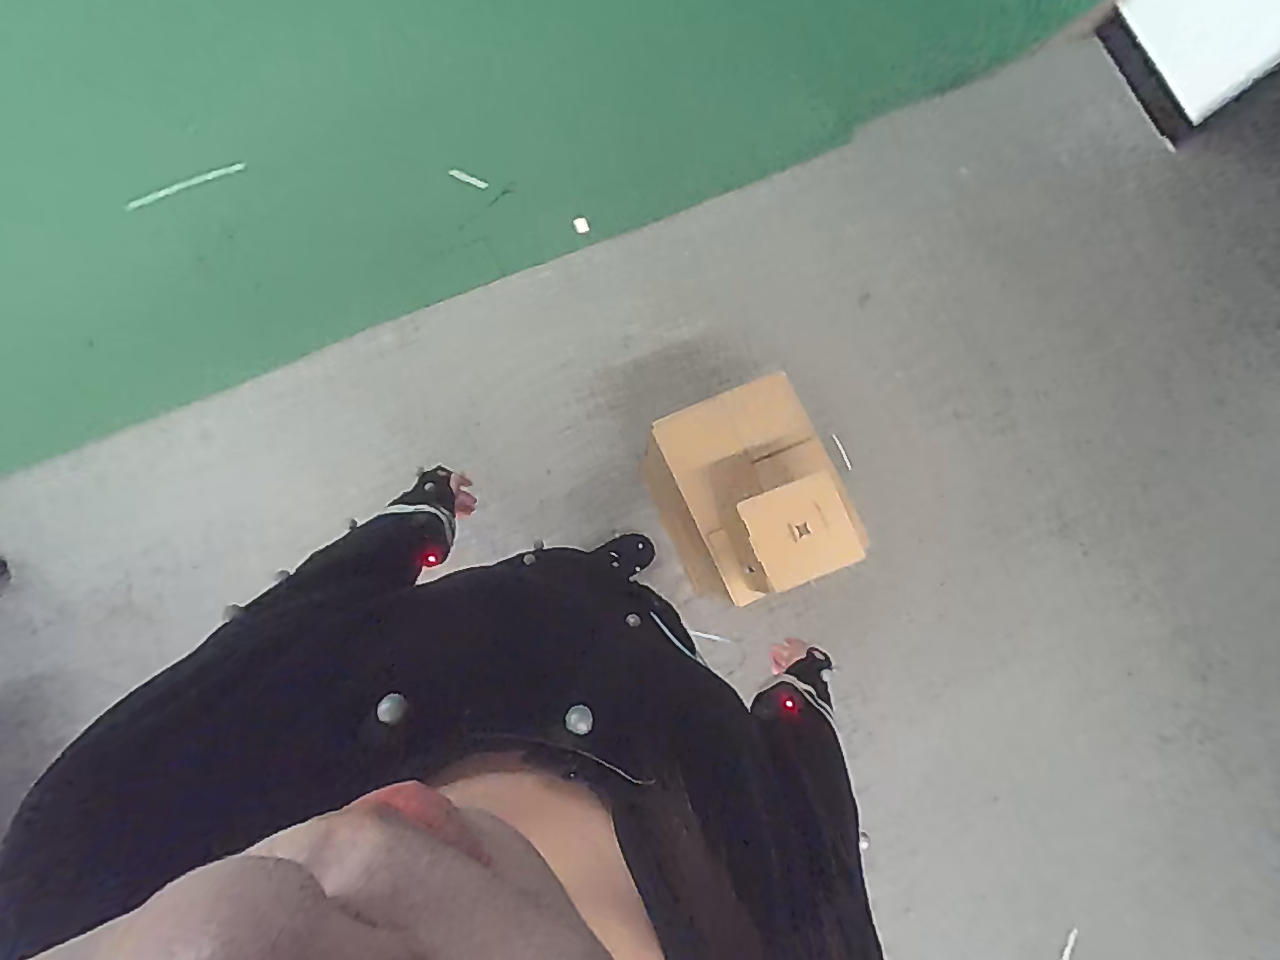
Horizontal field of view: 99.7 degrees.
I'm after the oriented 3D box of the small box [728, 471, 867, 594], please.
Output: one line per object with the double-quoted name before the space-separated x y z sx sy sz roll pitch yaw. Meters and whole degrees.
"small box" 0.272 0.101 0.988 0.179 0.176 0.168 -20 82 -5
